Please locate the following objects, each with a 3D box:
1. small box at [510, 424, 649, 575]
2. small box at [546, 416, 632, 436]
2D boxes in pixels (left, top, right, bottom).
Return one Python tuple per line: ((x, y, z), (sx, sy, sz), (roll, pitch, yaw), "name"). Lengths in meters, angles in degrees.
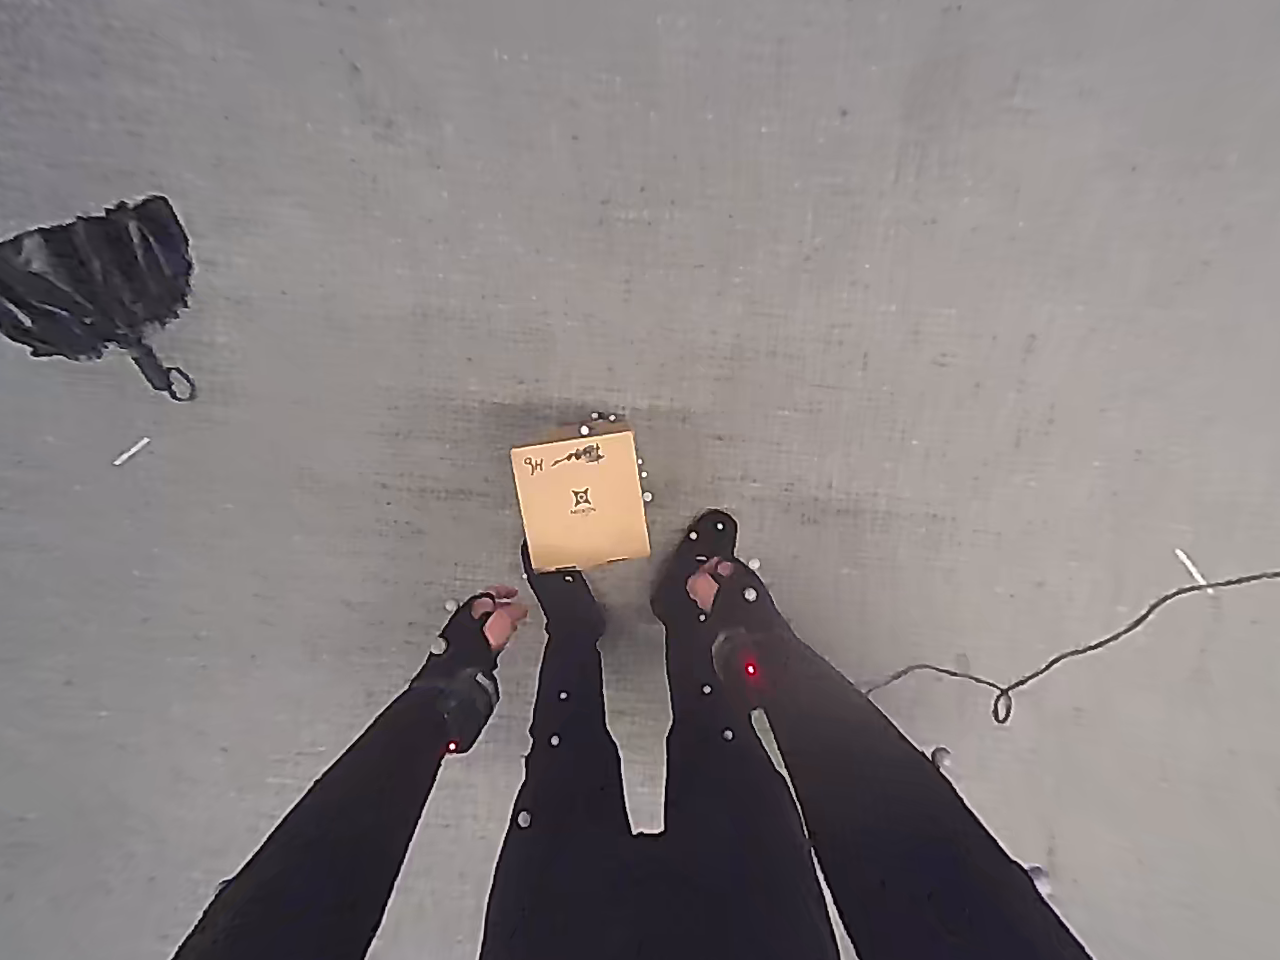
((-0.078, 0.021, 0.798), (0.168, 0.176, 0.179), (-9, 100, 2), "small box")
((-0.086, -0.033, 1.121), (0.168, 0.176, 0.179), (-10, 97, 1), "small box")
